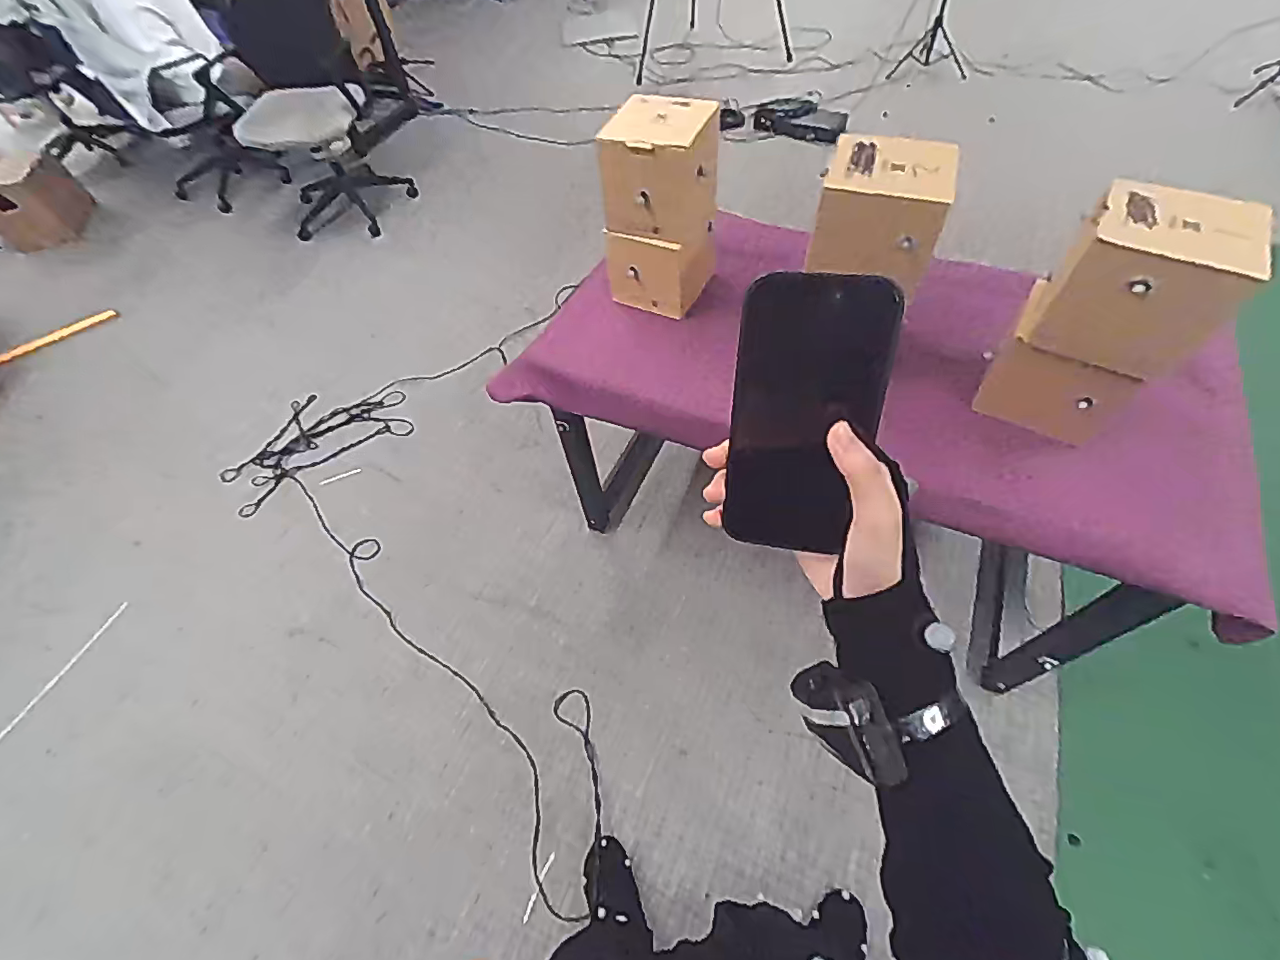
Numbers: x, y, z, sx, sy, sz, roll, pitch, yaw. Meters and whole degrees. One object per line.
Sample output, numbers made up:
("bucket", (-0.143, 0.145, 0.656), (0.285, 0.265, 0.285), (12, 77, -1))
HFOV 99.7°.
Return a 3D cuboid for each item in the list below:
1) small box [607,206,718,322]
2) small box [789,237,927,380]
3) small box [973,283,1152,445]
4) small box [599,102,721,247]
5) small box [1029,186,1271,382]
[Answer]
("small box", (0.052, -0.457, 1.121), (0.168, 0.176, 0.179), (22, 60, 19))
("small box", (0.390, -0.308, 0.988), (0.179, 0.176, 0.168), (20, 60, 19))
("small box", (0.684, -0.181, 0.875), (0.179, 0.176, 0.168), (27, 61, 22))
("small box", (0.044, -0.556, 0.990), (0.168, 0.176, 0.179), (17, 59, 15))
("small box", (0.672, -0.260, 0.730), (0.179, 0.176, 0.168), (27, 61, 21))
